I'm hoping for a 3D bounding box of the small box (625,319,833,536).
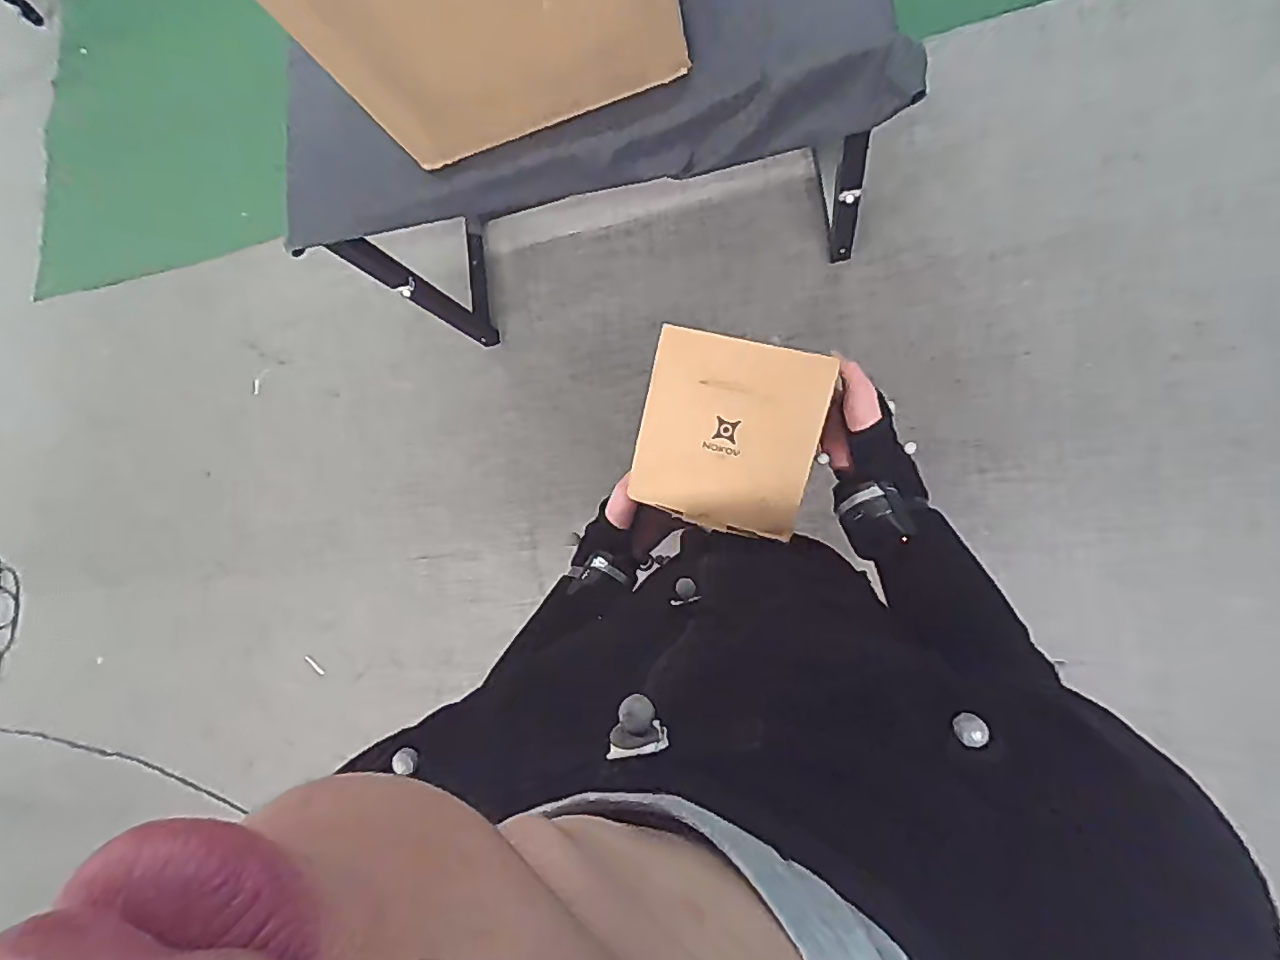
[{"bbox_3d":[0.099,-0.062,0.585,0.168,0.176,0.179,15,102,13],"label":"small box"}]
